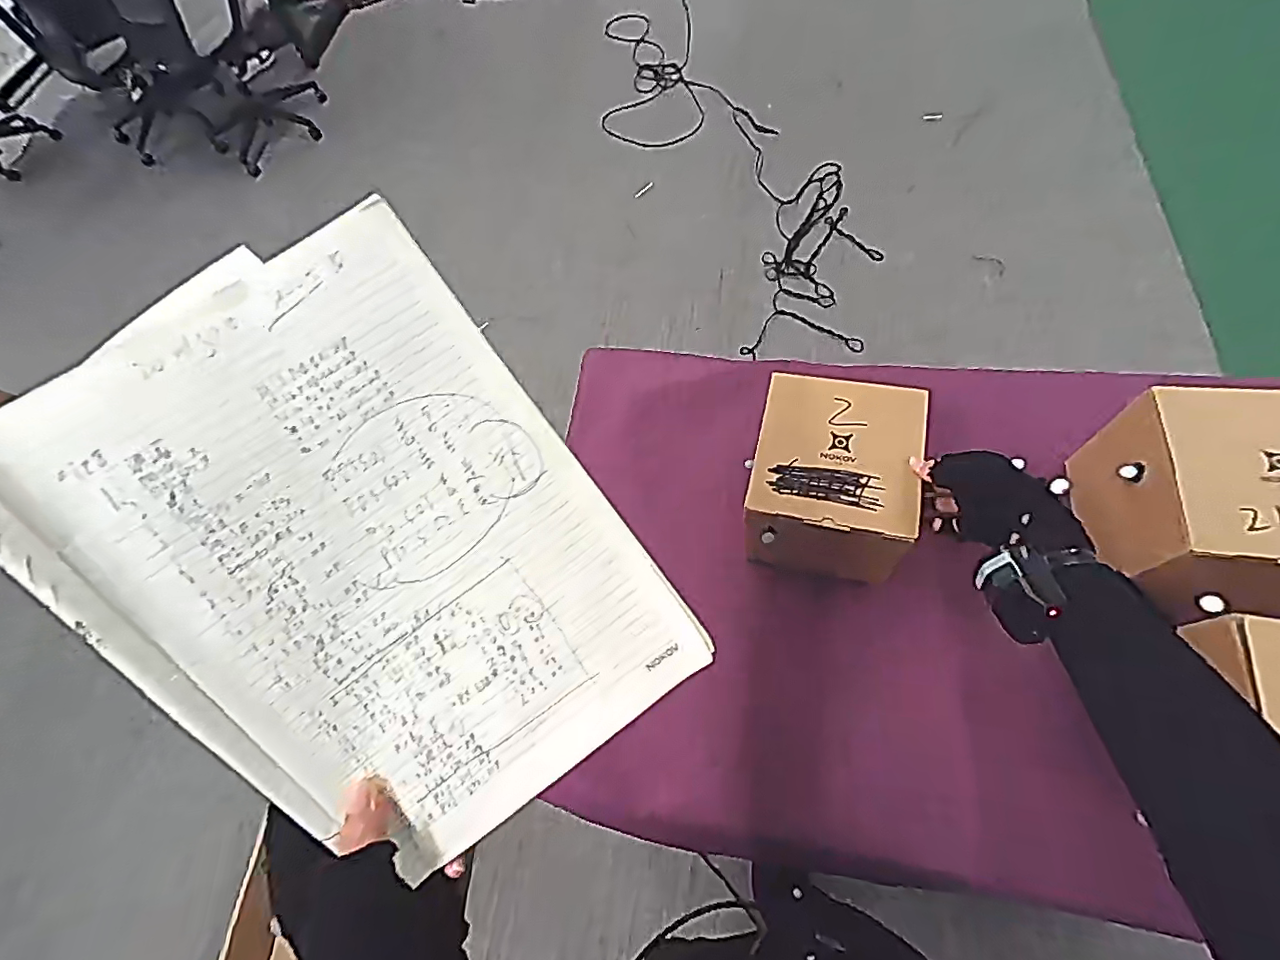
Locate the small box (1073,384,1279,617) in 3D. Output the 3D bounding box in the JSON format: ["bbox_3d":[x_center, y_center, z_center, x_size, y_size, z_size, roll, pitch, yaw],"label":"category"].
[{"bbox_3d":[0.580,0.026,0.549,0.168,0.176,0.179,6,67,13],"label":"small box"}]

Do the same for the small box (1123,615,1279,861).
[{"bbox_3d":[0.561,0.231,0.460,0.168,0.176,0.179,8,68,15],"label":"small box"}]
